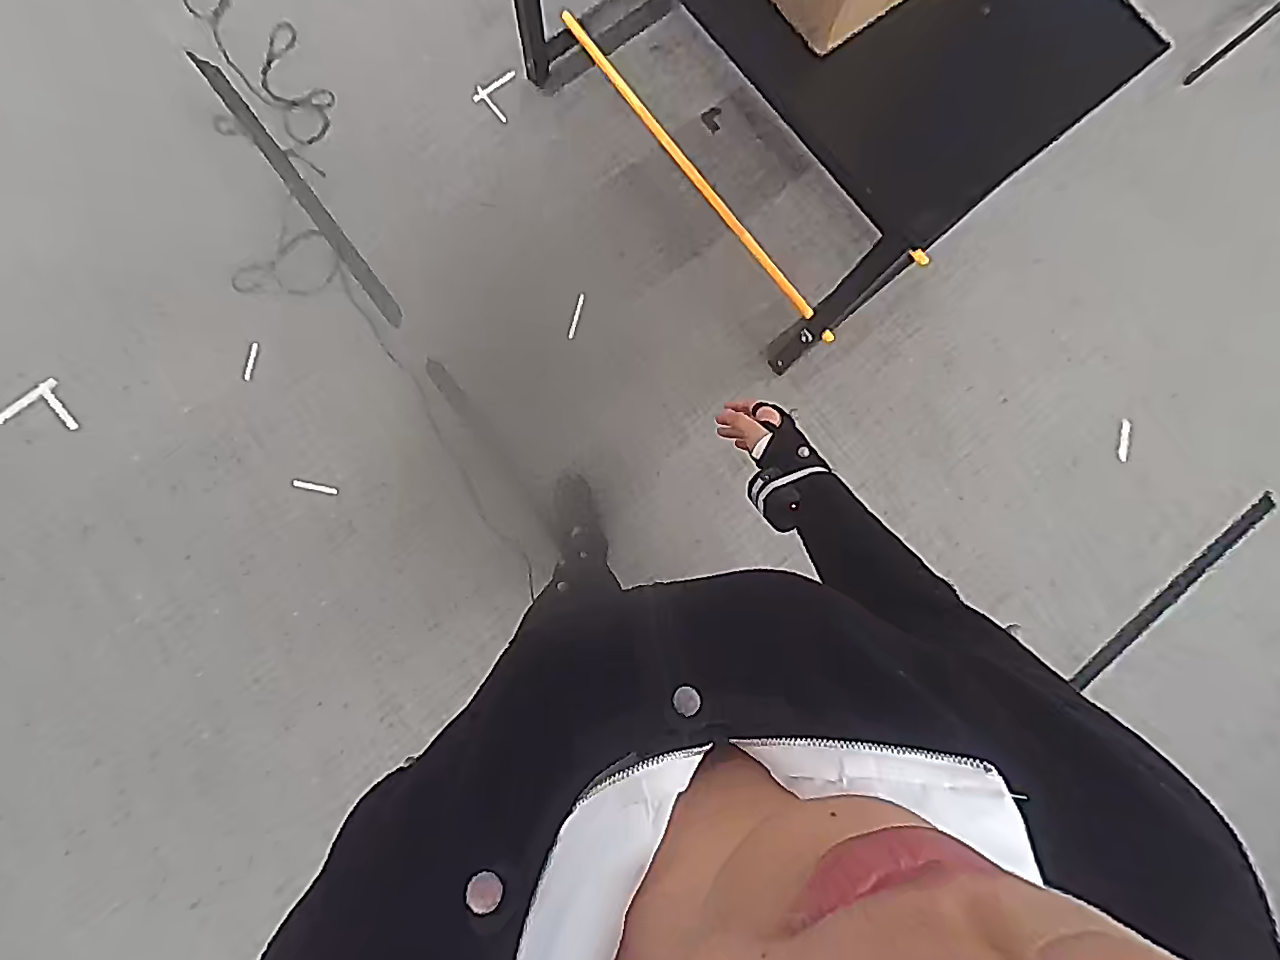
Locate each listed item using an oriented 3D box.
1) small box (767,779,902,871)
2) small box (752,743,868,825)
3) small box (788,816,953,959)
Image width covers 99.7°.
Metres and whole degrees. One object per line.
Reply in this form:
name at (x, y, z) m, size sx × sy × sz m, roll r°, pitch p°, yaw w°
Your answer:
small box at (0.397, 0.770, 1.141) m, size 0.179 × 0.176 × 0.168 m, roll 44°, pitch 83°, yaw 2°
small box at (0.401, 0.776, 1.305) m, size 0.179 × 0.176 × 0.168 m, roll 45°, pitch 83°, yaw 3°
small box at (0.403, 0.761, 0.975) m, size 0.168 × 0.176 × 0.179 m, roll -41°, pitch 88°, yaw -8°
